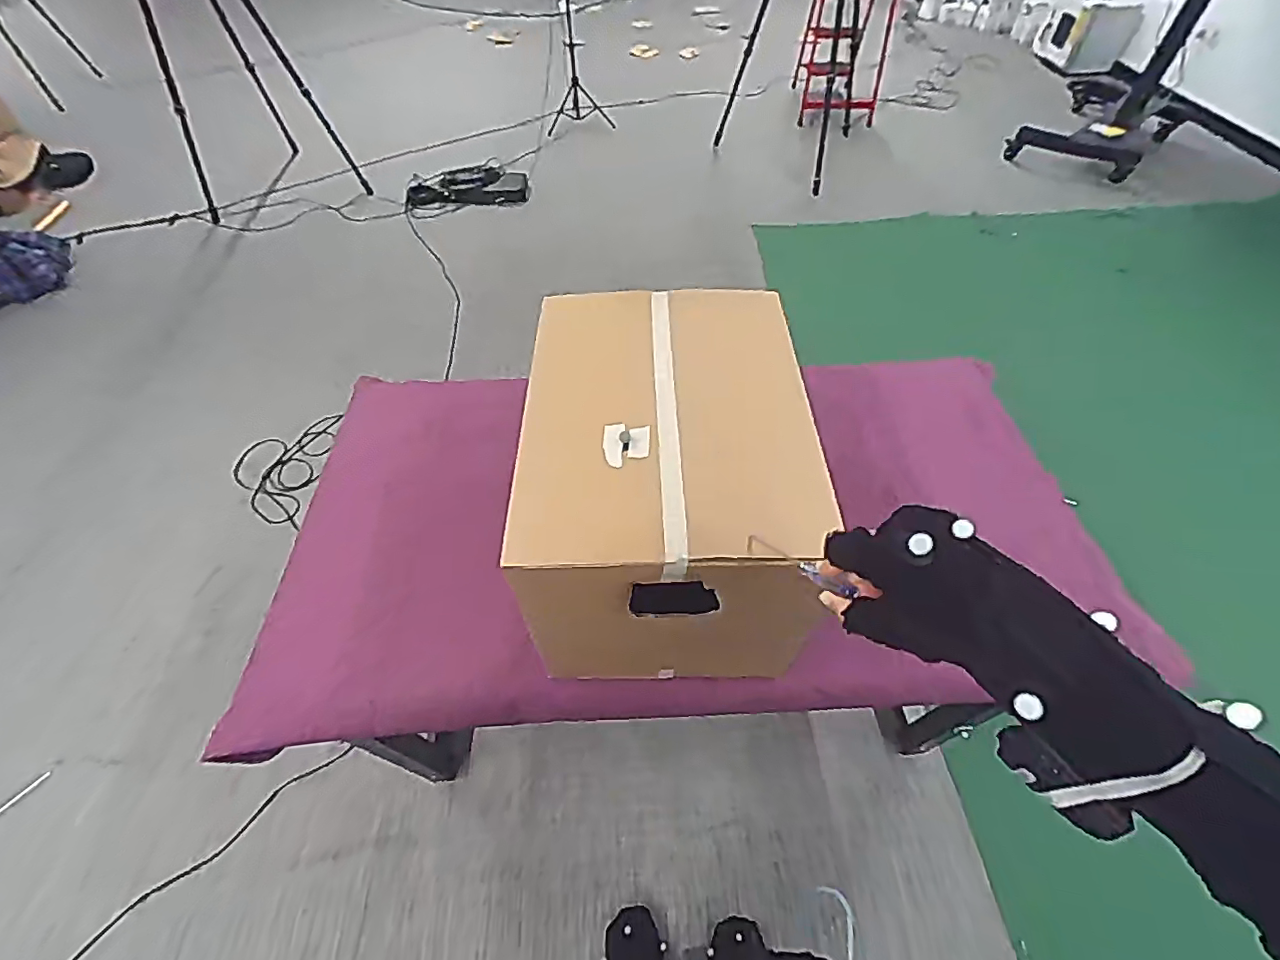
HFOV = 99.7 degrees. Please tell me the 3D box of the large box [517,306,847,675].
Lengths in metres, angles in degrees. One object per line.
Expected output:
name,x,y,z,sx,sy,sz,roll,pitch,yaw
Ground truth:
large box,0.034,0.016,0.731,0.320,0.320,0.408,-1,53,0
